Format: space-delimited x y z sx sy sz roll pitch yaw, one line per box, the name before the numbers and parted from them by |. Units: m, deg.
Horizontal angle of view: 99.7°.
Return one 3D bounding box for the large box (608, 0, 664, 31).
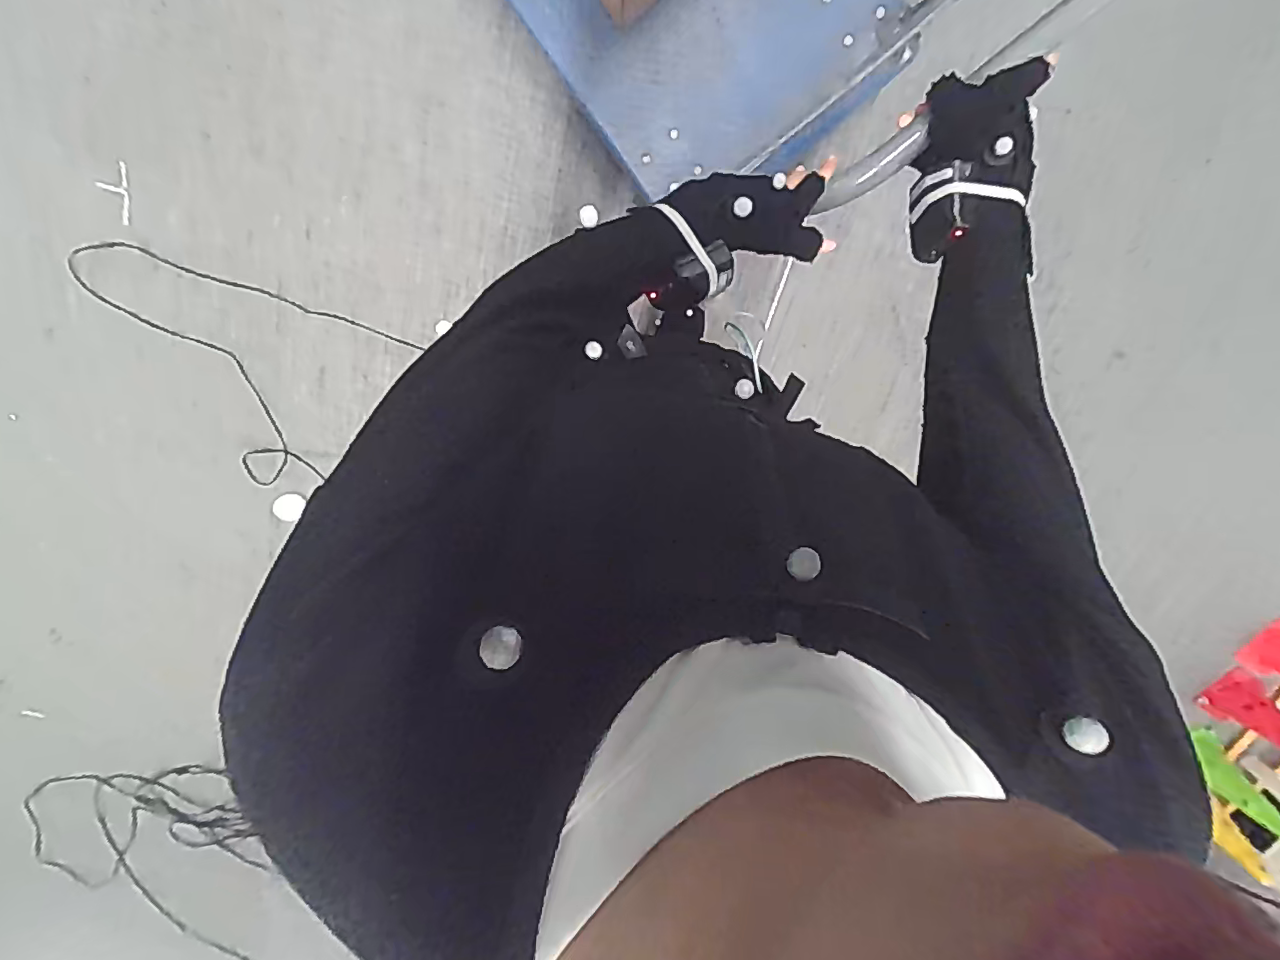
large box | 0.038 -0.998 0.781 0.408 0.320 0.320 -39 108 14
